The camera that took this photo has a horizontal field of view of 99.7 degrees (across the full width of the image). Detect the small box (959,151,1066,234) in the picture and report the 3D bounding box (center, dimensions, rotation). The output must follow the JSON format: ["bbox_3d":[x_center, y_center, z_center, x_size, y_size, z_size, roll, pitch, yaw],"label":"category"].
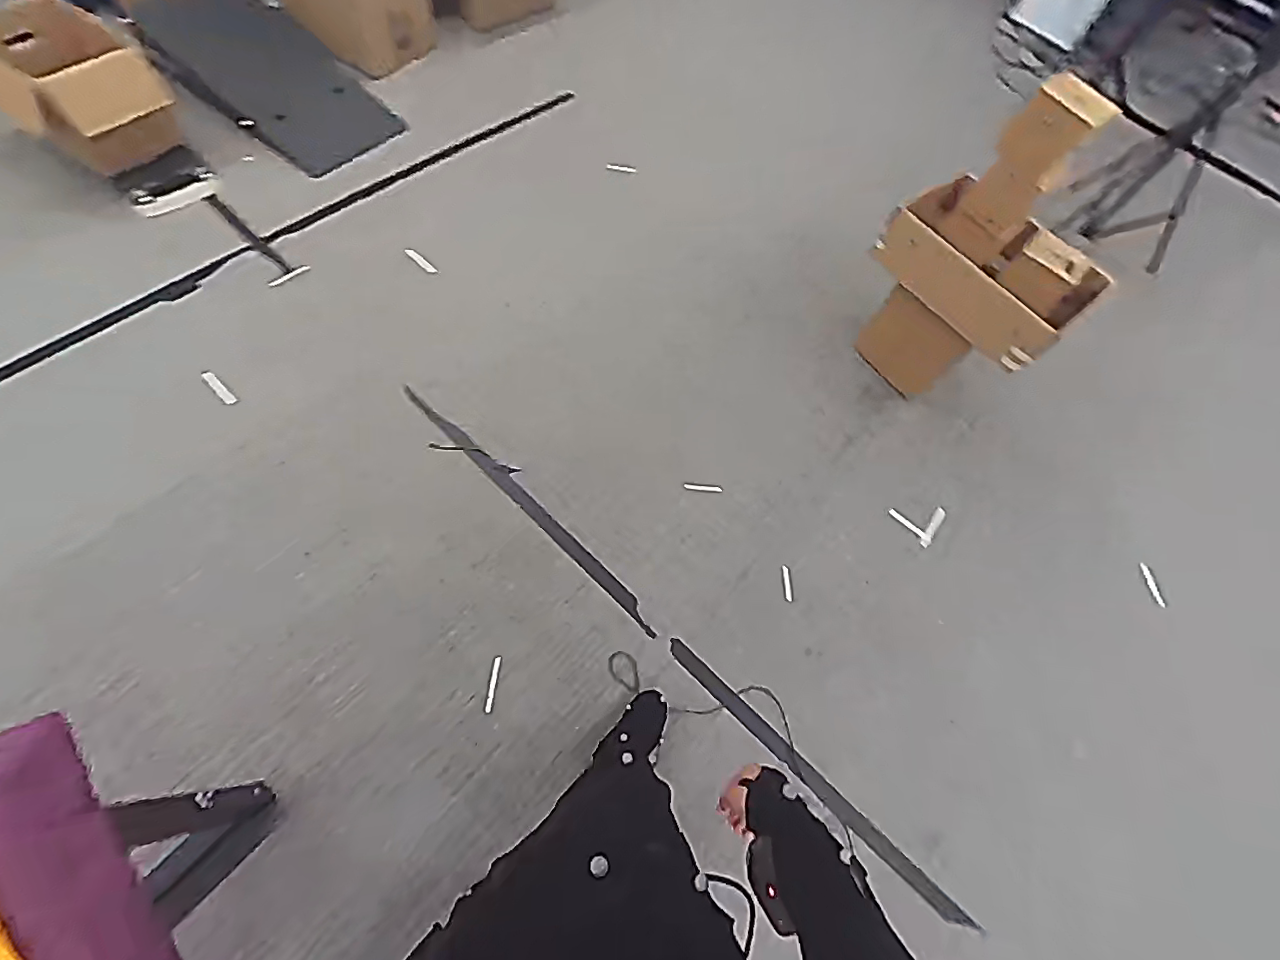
[{"bbox_3d":[1.092,-0.870,1.599,0.179,0.176,0.168,-37,76,-24],"label":"small box"}]

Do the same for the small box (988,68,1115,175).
[{"bbox_3d":[1.102,-0.957,1.460,0.168,0.176,0.179,-34,75,-23],"label":"small box"}]
